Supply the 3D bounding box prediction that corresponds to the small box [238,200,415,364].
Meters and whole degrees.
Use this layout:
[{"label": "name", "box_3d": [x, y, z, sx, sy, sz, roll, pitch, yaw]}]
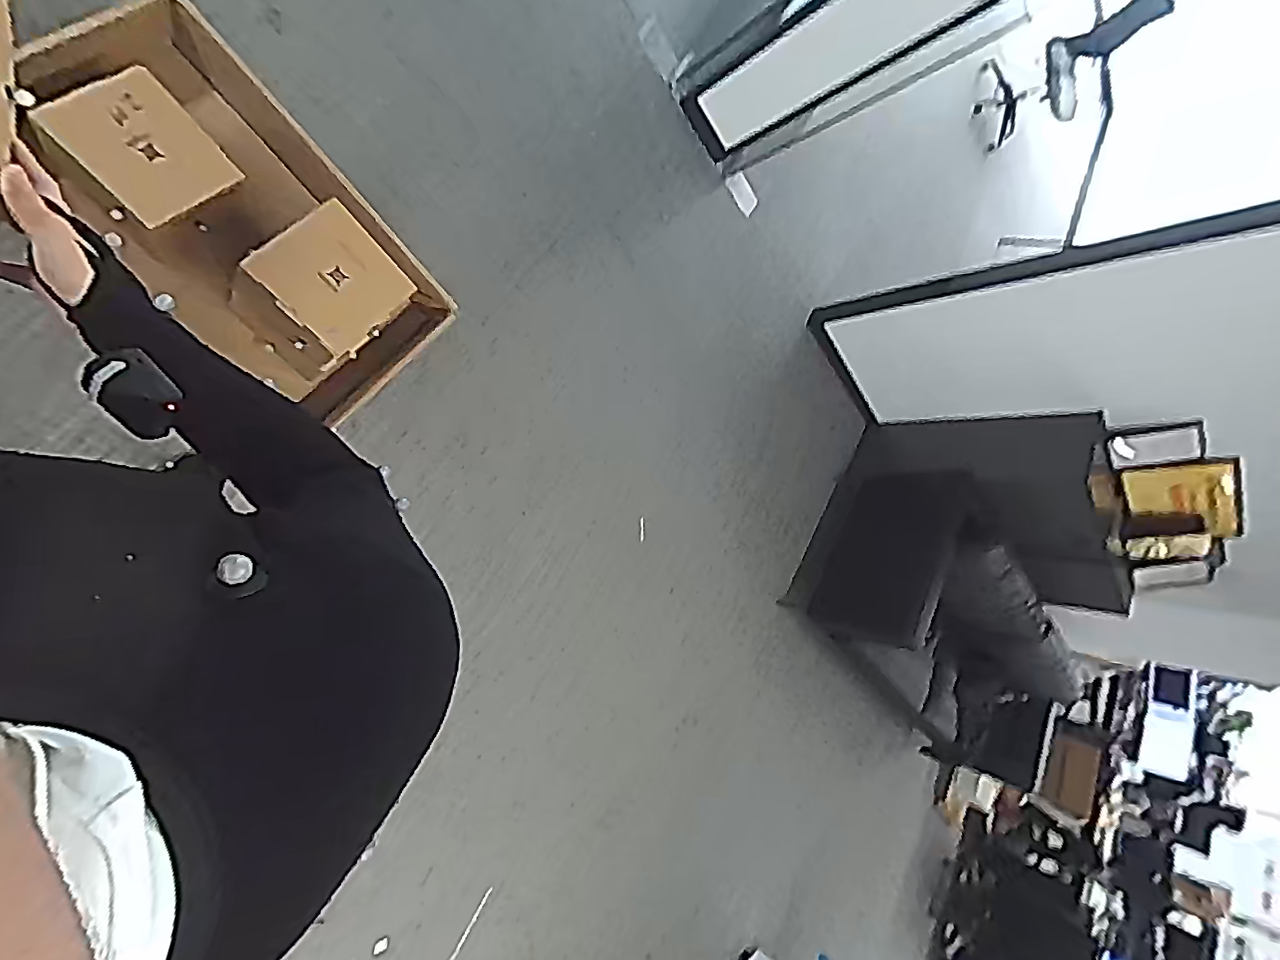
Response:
[{"label": "small box", "box_3d": [-0.507, -0.306, 0.873, 0.179, 0.176, 0.168, -54, 123, -24]}]
